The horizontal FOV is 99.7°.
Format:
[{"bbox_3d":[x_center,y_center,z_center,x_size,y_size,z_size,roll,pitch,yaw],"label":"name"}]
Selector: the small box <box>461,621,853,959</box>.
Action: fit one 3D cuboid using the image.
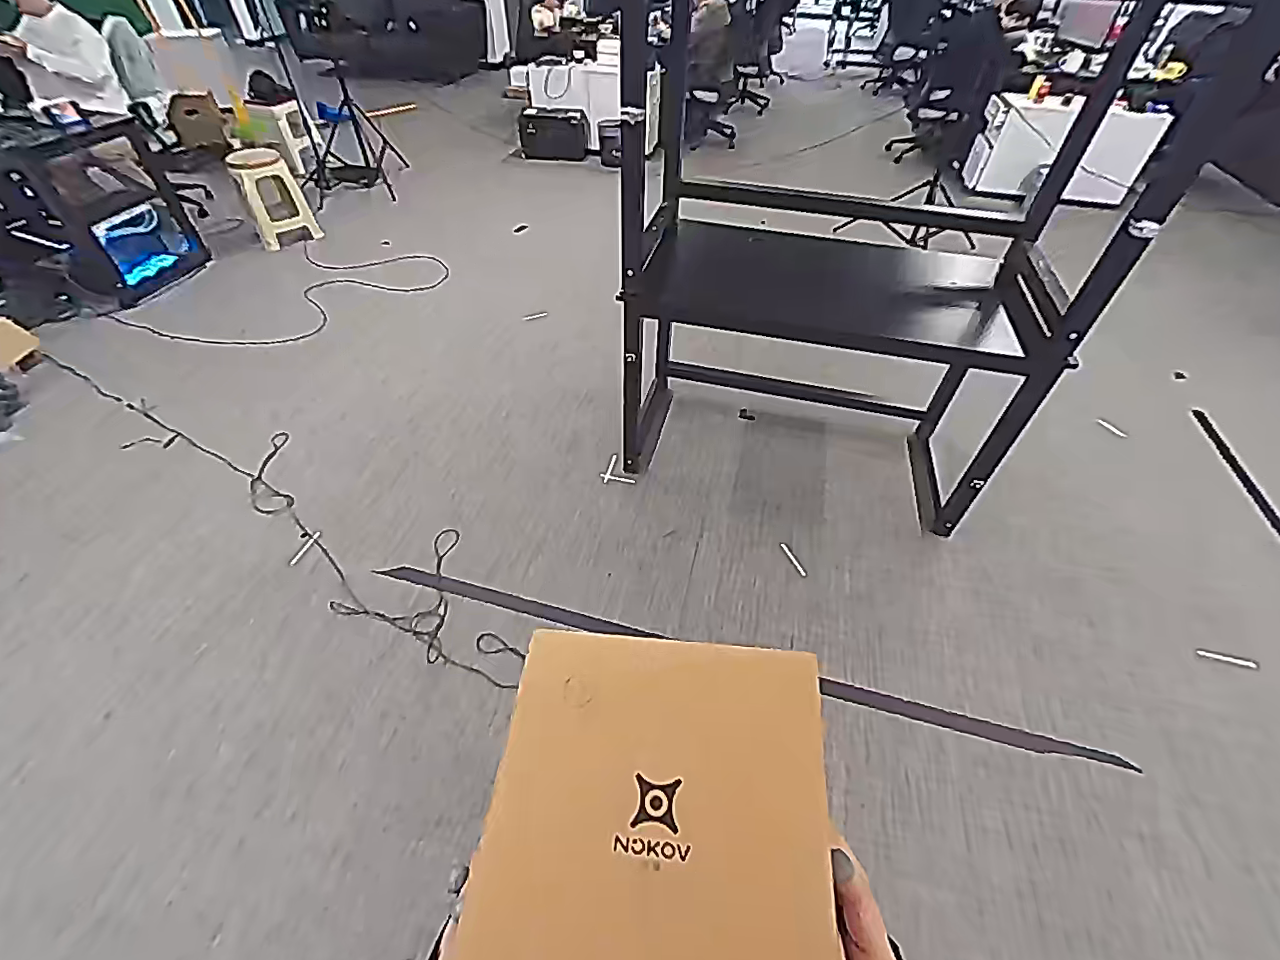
[{"bbox_3d":[0.018,0.205,0.322,0.168,0.176,0.179,2,52,8],"label":"small box"}]
